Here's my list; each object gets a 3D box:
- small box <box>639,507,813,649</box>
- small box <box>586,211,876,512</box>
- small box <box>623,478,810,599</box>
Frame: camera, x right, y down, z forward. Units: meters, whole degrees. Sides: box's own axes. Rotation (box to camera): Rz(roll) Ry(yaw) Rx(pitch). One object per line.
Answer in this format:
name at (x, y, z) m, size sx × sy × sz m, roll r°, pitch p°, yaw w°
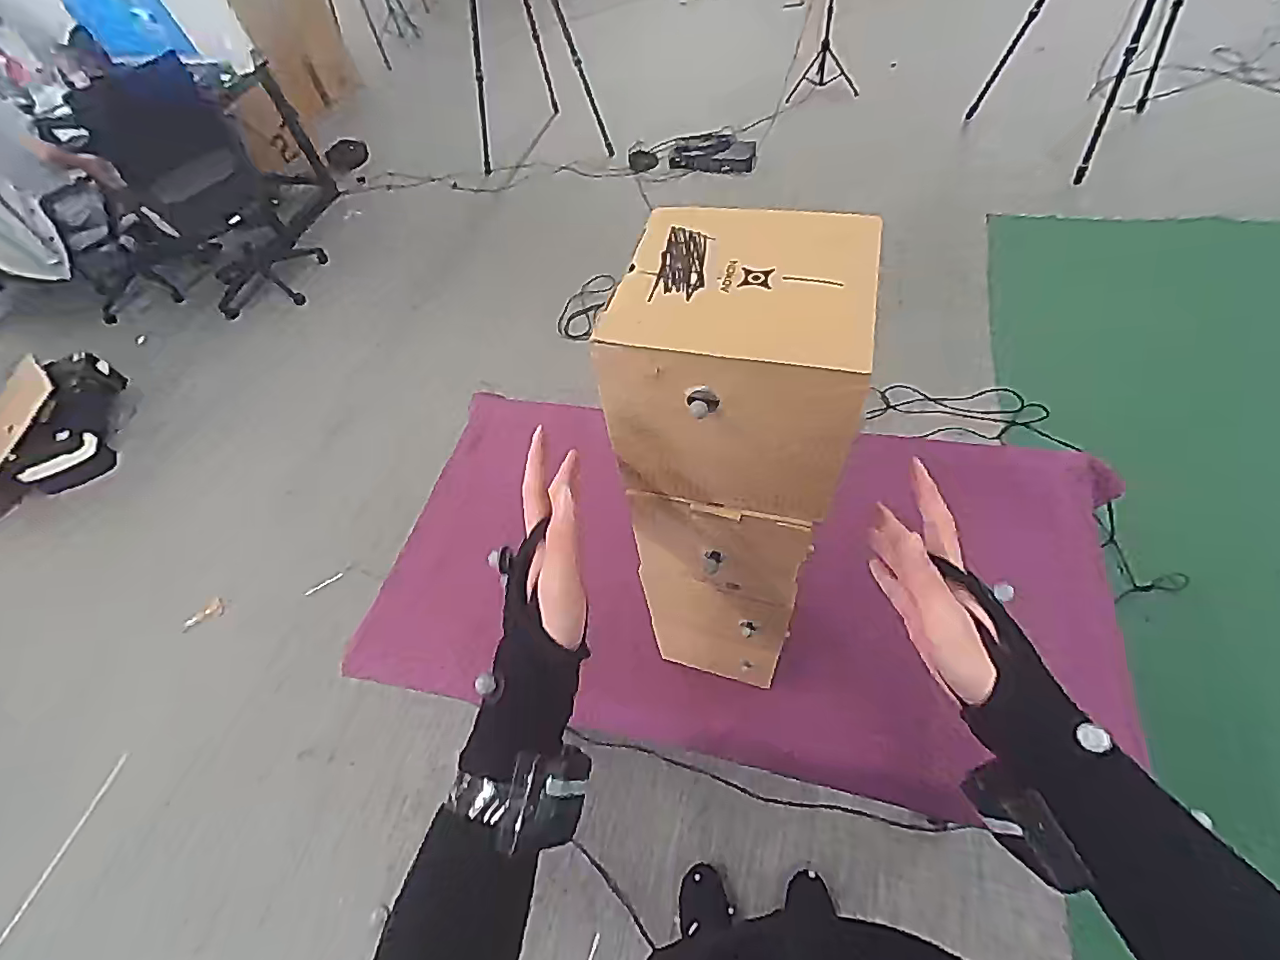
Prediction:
small box at (0.114, 0.103, 0.700) m, size 0.179 × 0.176 × 0.168 m, roll 11°, pitch 58°, yaw 16°
small box at (0.077, -0.092, 0.439) m, size 0.179 × 0.176 × 0.168 m, roll 10°, pitch 57°, yaw 14°
small box at (0.096, 0.005, 0.571) m, size 0.168 × 0.176 × 0.179 m, roll 11°, pitch 58°, yaw 16°
